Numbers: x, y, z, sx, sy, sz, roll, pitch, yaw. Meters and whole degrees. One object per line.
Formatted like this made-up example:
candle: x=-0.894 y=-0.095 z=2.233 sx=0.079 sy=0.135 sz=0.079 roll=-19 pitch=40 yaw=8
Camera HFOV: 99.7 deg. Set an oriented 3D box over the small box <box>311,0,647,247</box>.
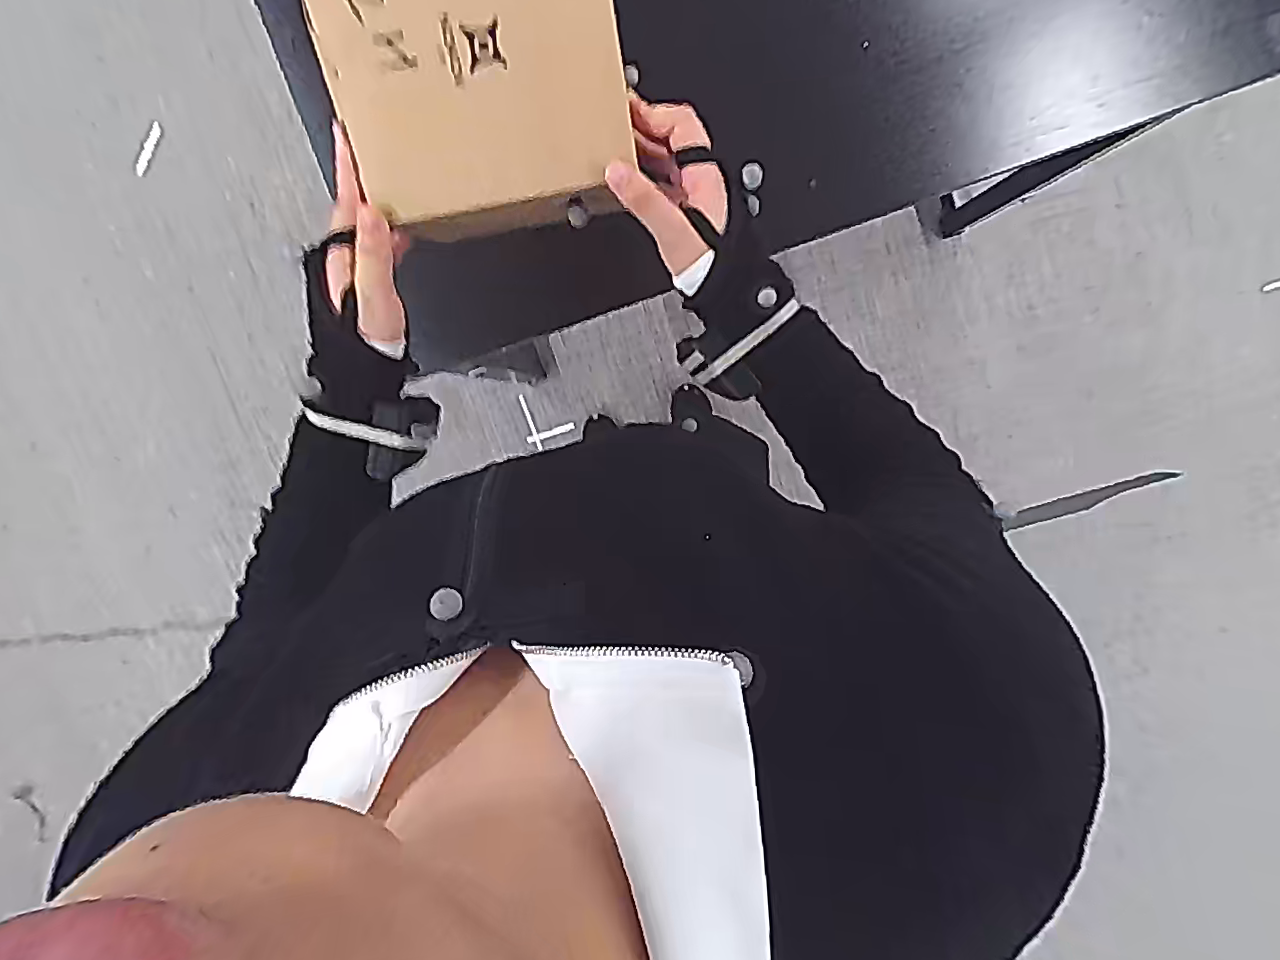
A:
small box: x=-0.097 y=-0.273 z=0.394 sx=0.179 sy=0.176 sz=0.168 roll=-10 pitch=111 yaw=1
